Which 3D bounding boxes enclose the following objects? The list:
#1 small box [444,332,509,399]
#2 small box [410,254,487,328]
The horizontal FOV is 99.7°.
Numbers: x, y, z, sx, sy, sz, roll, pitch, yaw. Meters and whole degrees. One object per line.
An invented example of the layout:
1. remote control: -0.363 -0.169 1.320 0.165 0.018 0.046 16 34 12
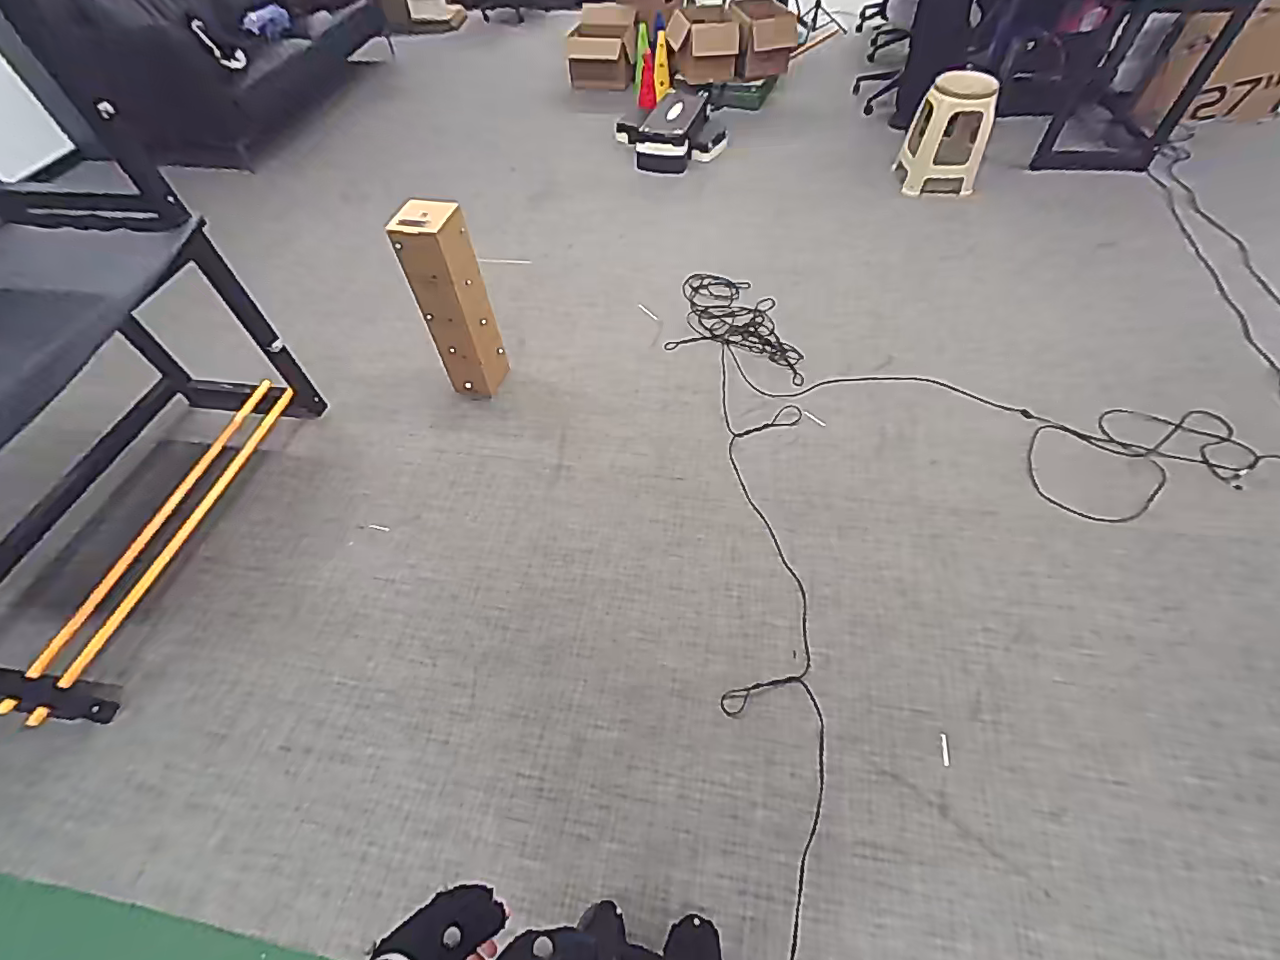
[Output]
1. small box: -0.623 -0.441 2.088 0.168 0.176 0.179 10 55 11
2. small box: -0.638 -0.636 1.827 0.168 0.176 0.179 9 54 9
